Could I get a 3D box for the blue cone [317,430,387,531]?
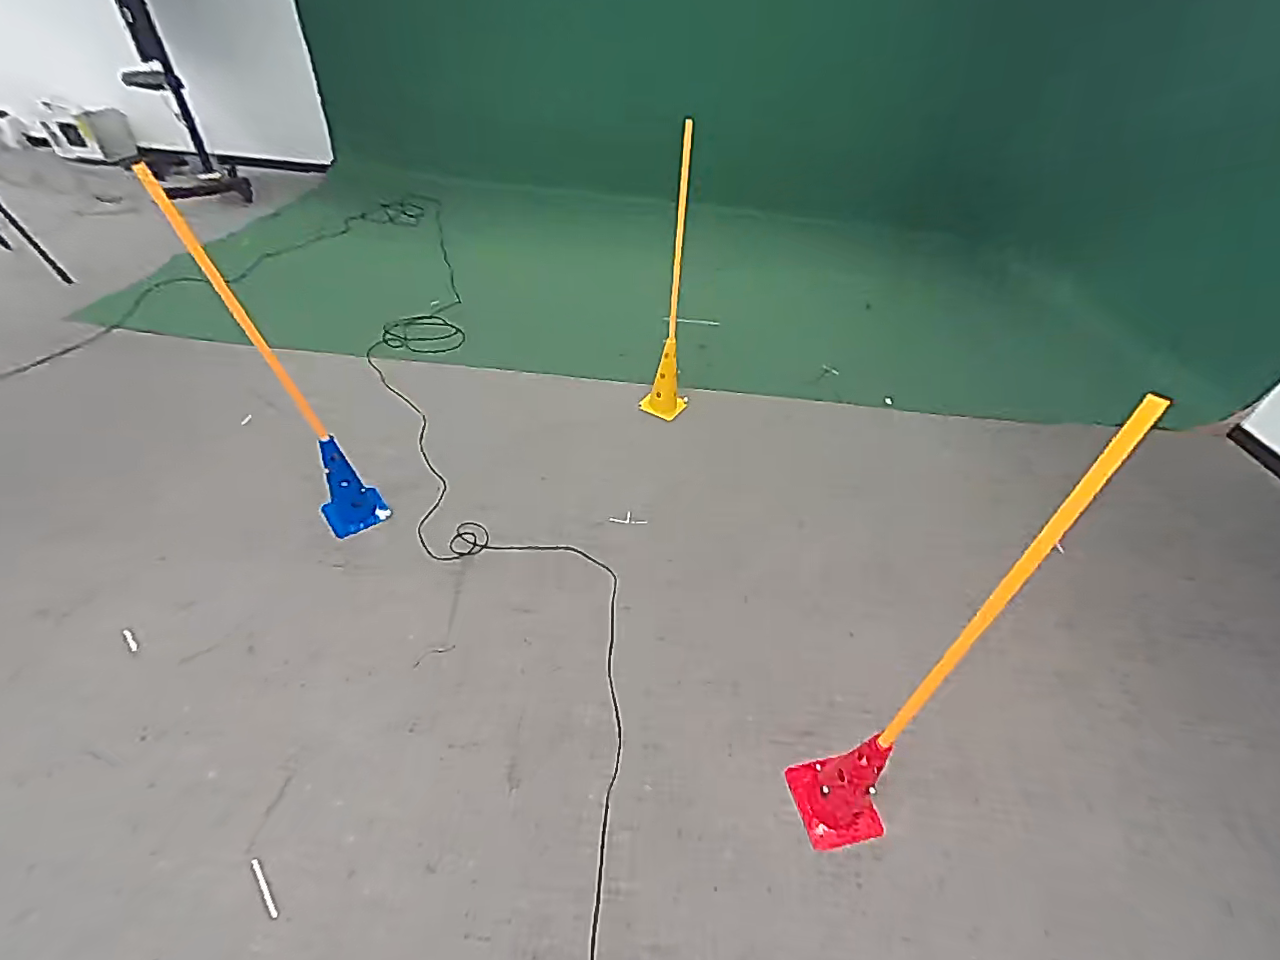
[{"bbox_3d":[-1.044,-0.015,1.887,0.193,0.380,0.192,-30,54,-31],"label":"blue cone"}]
